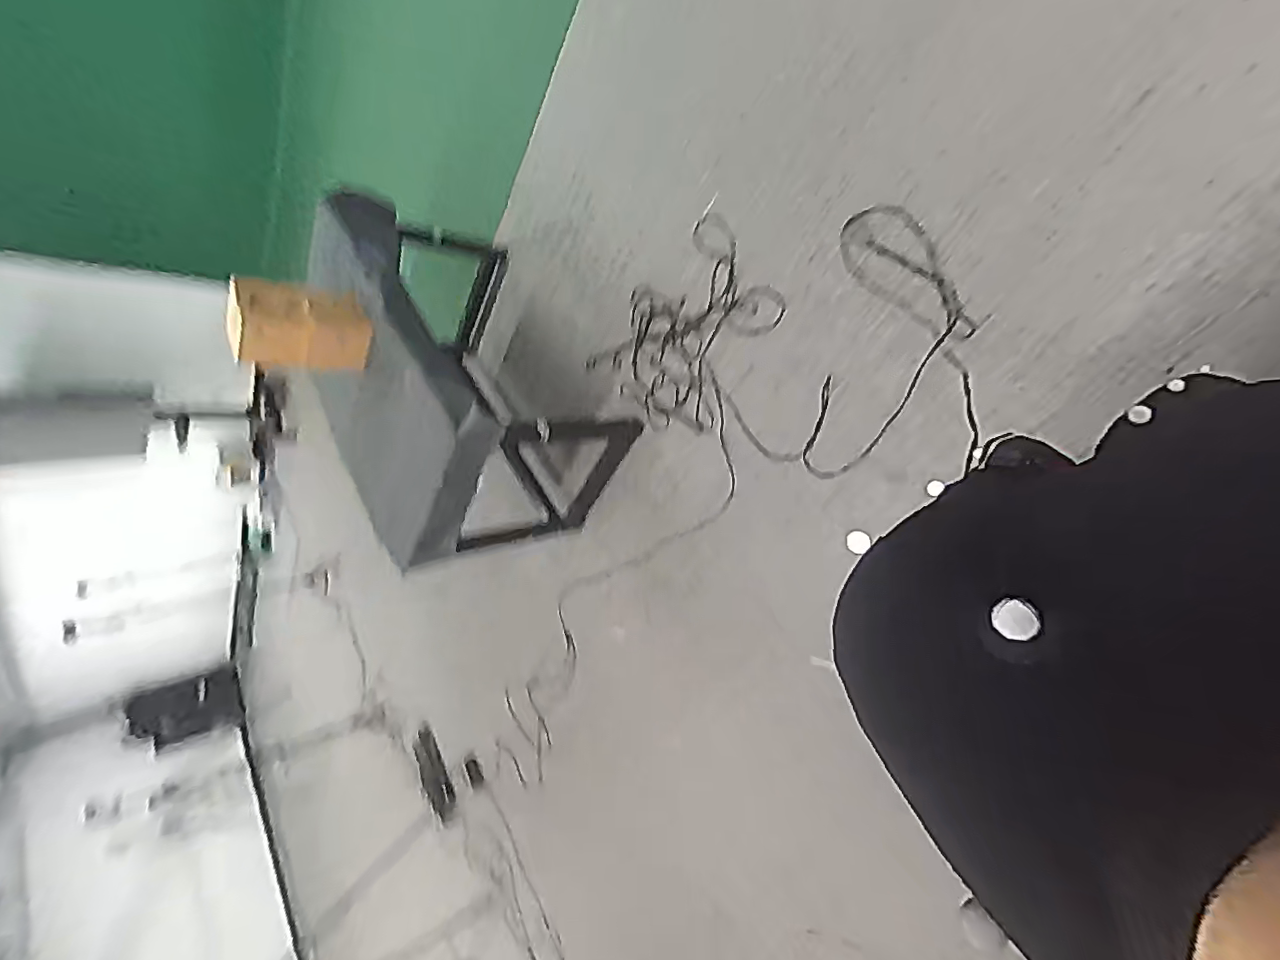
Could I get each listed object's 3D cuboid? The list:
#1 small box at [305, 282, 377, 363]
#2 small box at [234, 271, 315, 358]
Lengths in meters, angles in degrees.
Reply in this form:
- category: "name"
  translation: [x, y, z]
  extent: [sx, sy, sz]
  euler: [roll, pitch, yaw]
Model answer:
- category: "small box"
  translation: [-0.937, -0.485, 1.682]
  extent: [0.168, 0.176, 0.179]
  euler: [58, 132, 24]
- category: "small box"
  translation: [-1.070, -0.477, 1.585]
  extent: [0.179, 0.176, 0.168]
  euler: [-46, 64, 38]
